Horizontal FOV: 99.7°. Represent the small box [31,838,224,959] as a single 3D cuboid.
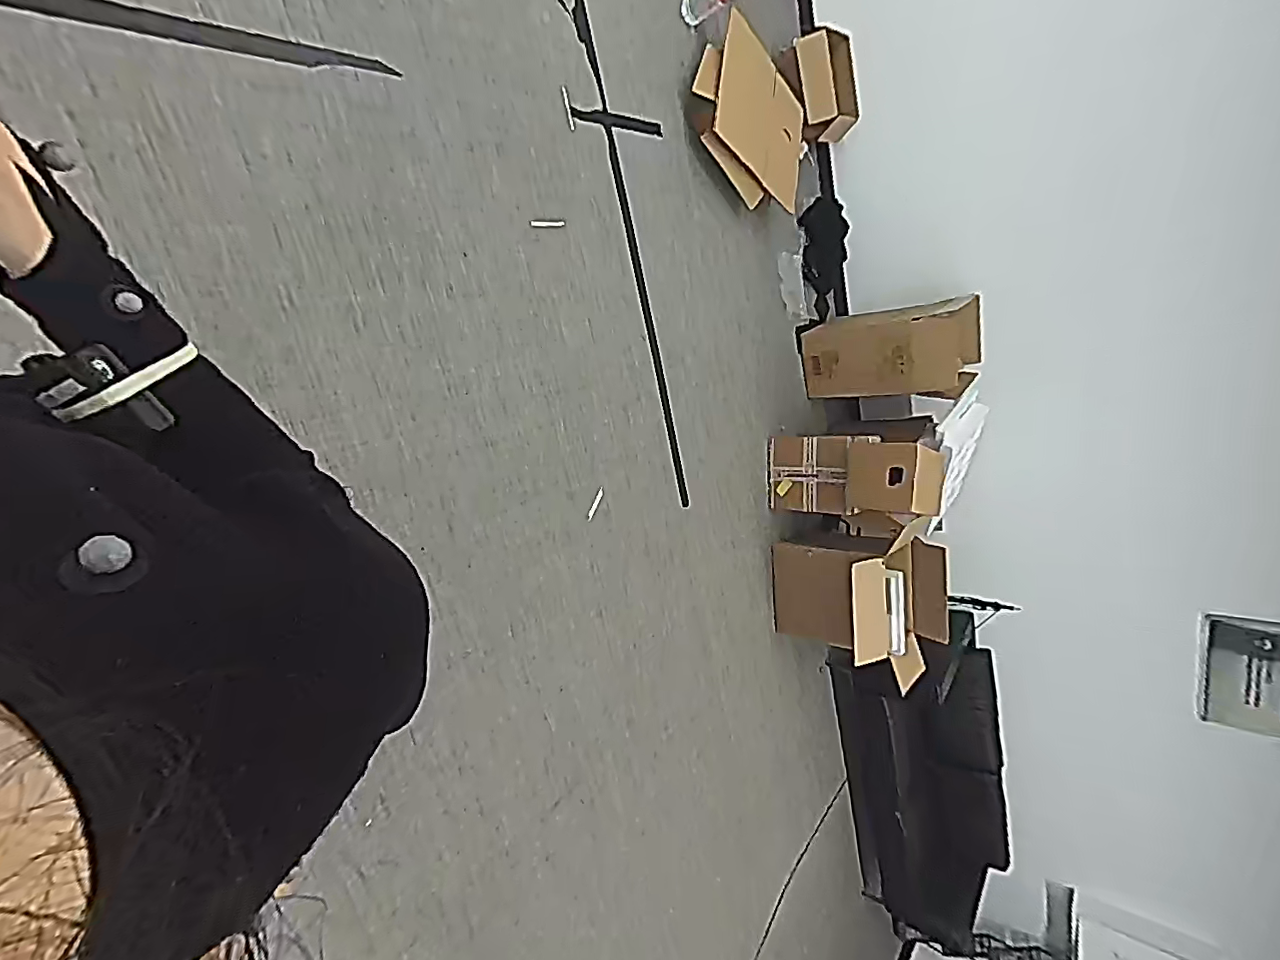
[{"bbox_3d":[-0.802,0.717,0.848,0.179,0.176,0.168,-28,110,-42],"label":"small box"}]
